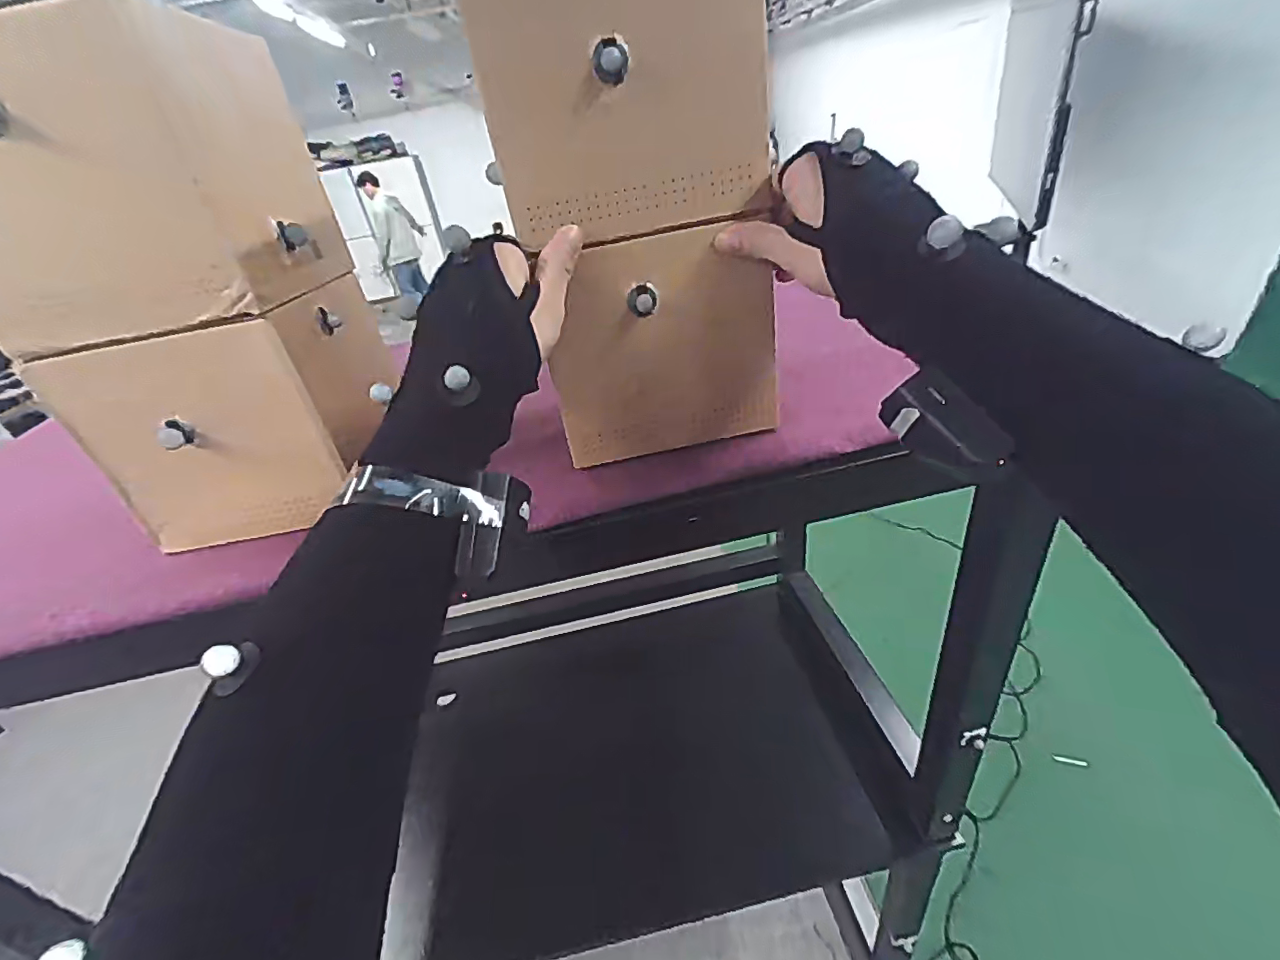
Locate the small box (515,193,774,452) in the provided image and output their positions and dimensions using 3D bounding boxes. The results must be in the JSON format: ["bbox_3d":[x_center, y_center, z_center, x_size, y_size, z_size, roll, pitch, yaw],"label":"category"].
[{"bbox_3d":[0.007,-0.140,0.469,0.179,0.176,0.168,-11,32,0],"label":"small box"}]

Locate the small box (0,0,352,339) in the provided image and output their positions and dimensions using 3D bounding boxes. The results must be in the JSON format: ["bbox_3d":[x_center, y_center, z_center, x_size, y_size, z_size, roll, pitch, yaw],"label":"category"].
[{"bbox_3d":[-0.346,-0.208,0.378,0.179,0.176,0.168,-9,32,1],"label":"small box"}]

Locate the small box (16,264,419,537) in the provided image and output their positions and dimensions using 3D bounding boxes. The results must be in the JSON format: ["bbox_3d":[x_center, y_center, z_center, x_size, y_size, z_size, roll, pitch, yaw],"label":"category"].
[{"bbox_3d":[-0.322,-0.070,0.463,0.179,0.176,0.168,-12,32,0],"label":"small box"}]

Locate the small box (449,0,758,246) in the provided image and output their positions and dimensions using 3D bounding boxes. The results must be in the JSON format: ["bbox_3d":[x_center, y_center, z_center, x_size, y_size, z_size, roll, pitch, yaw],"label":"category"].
[{"bbox_3d":[-0.020,-0.279,0.385,0.179,0.176,0.168,-12,31,-1],"label":"small box"}]
